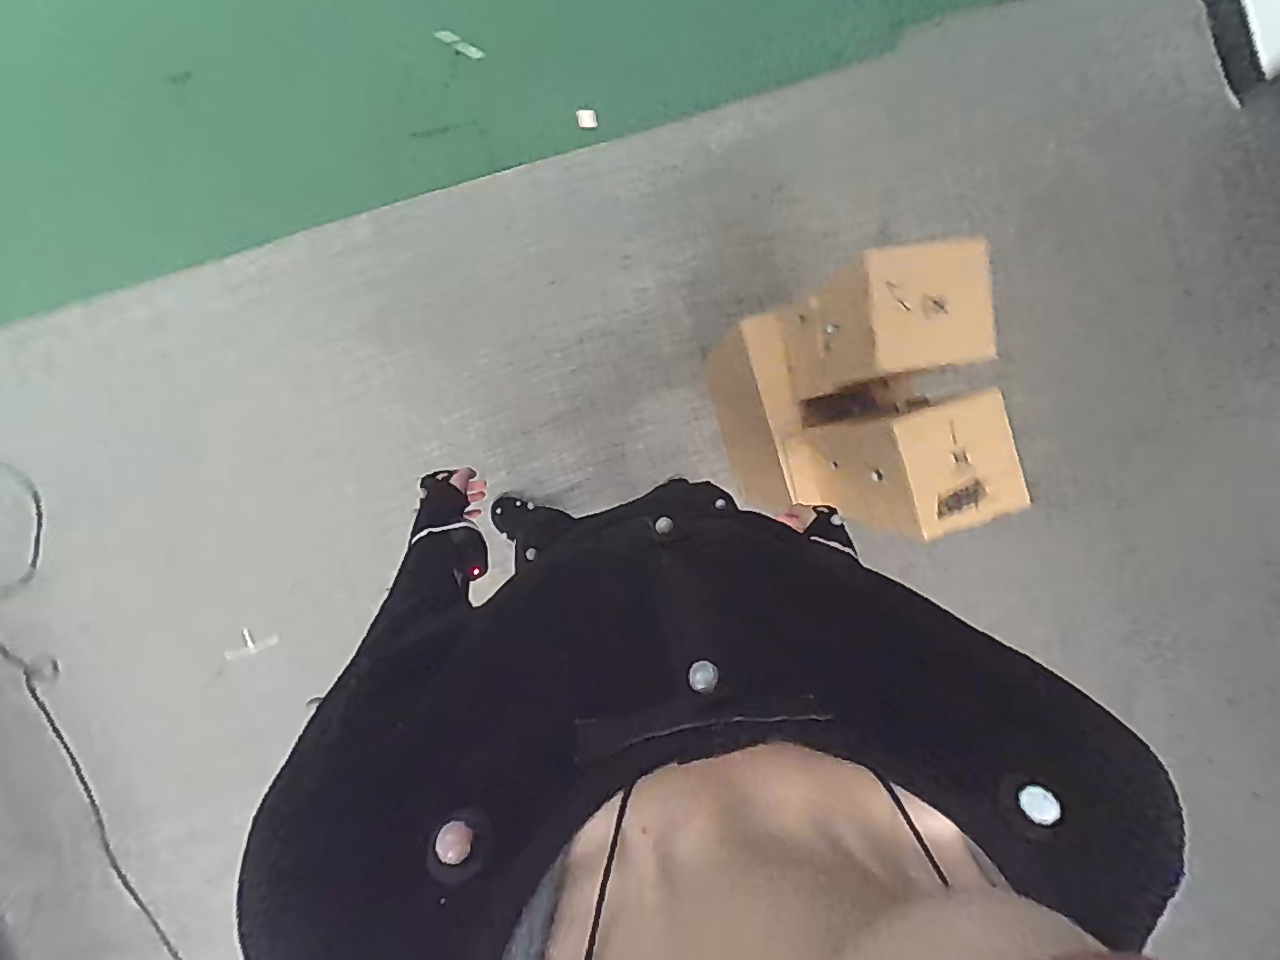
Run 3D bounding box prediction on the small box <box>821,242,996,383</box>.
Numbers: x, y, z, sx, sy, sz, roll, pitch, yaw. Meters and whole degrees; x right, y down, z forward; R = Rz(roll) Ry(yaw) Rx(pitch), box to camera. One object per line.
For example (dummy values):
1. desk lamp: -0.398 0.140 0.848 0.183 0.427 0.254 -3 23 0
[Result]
1. small box: 0.397 -0.244 0.821 0.179 0.176 0.168 -7 93 -3
